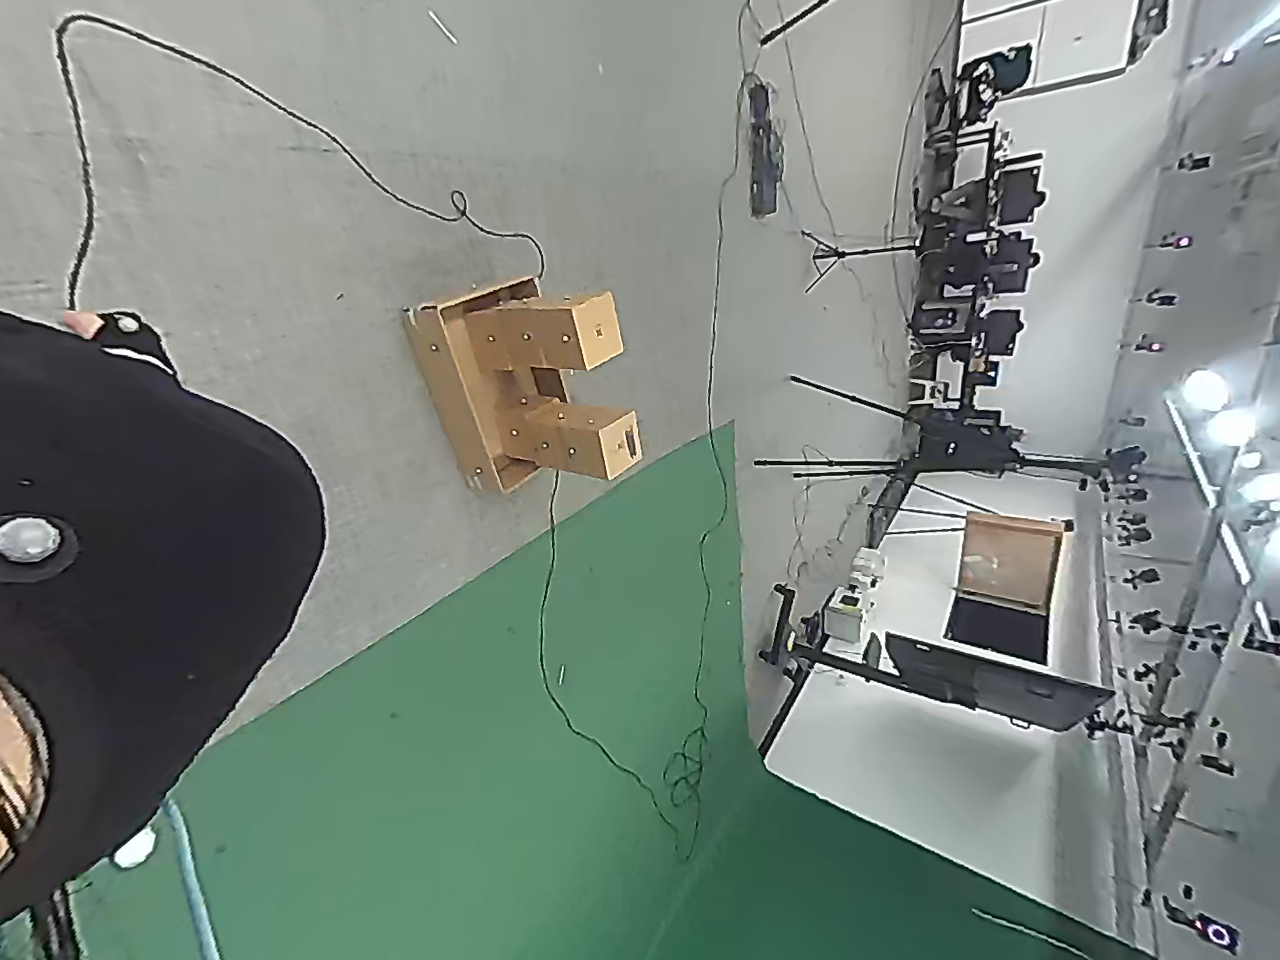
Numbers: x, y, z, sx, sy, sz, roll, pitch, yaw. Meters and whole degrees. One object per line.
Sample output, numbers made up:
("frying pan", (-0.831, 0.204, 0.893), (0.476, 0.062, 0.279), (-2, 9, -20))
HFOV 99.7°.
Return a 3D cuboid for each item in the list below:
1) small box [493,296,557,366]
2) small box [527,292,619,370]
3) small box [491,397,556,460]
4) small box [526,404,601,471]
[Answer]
("small box", (-0.319, -0.451, 1.633), (0.168, 0.176, 0.179), (-35, 127, -43))
("small box", (-0.190, -0.426, 1.538), (0.168, 0.176, 0.179), (-40, 128, -39))
("small box", (-0.390, -0.183, 1.881), (0.168, 0.176, 0.179), (-37, 126, -44))
("small box", (-0.257, -0.145, 1.791), (0.179, 0.176, 0.168), (-37, 128, -44))
